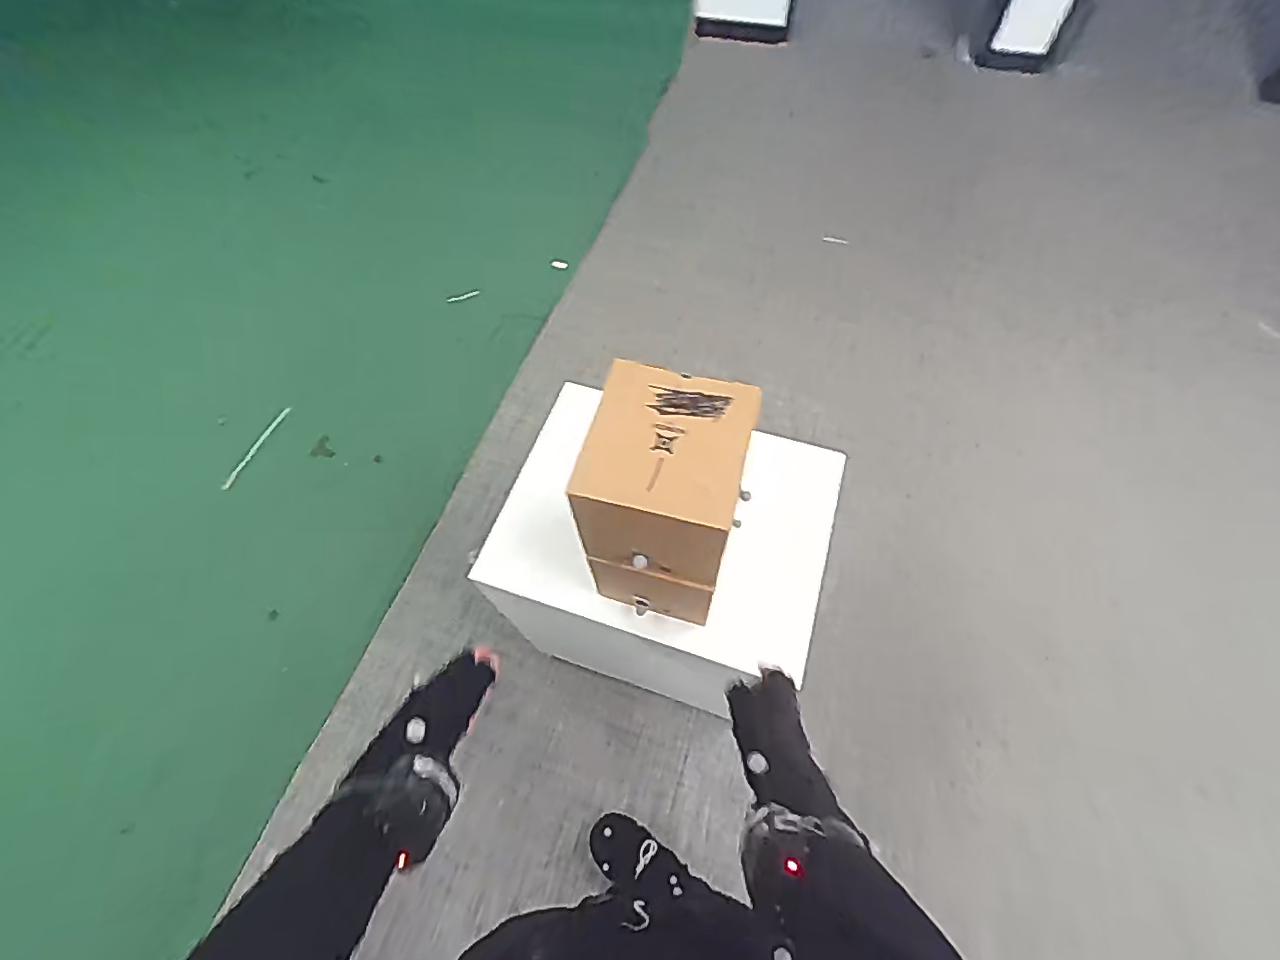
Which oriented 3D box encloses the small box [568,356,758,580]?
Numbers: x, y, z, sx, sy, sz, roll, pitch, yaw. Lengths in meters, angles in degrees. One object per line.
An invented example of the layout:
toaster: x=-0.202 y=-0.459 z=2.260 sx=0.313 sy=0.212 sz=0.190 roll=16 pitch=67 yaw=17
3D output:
small box: x=0.030 y=-0.009 z=0.614 sx=0.168 sy=0.176 sz=0.179 roll=10 pitch=61 yaw=9

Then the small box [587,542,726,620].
small box: x=0.039 y=0.075 z=0.755 sx=0.168 sy=0.176 sz=0.179 roll=13 pitch=64 yaw=11
